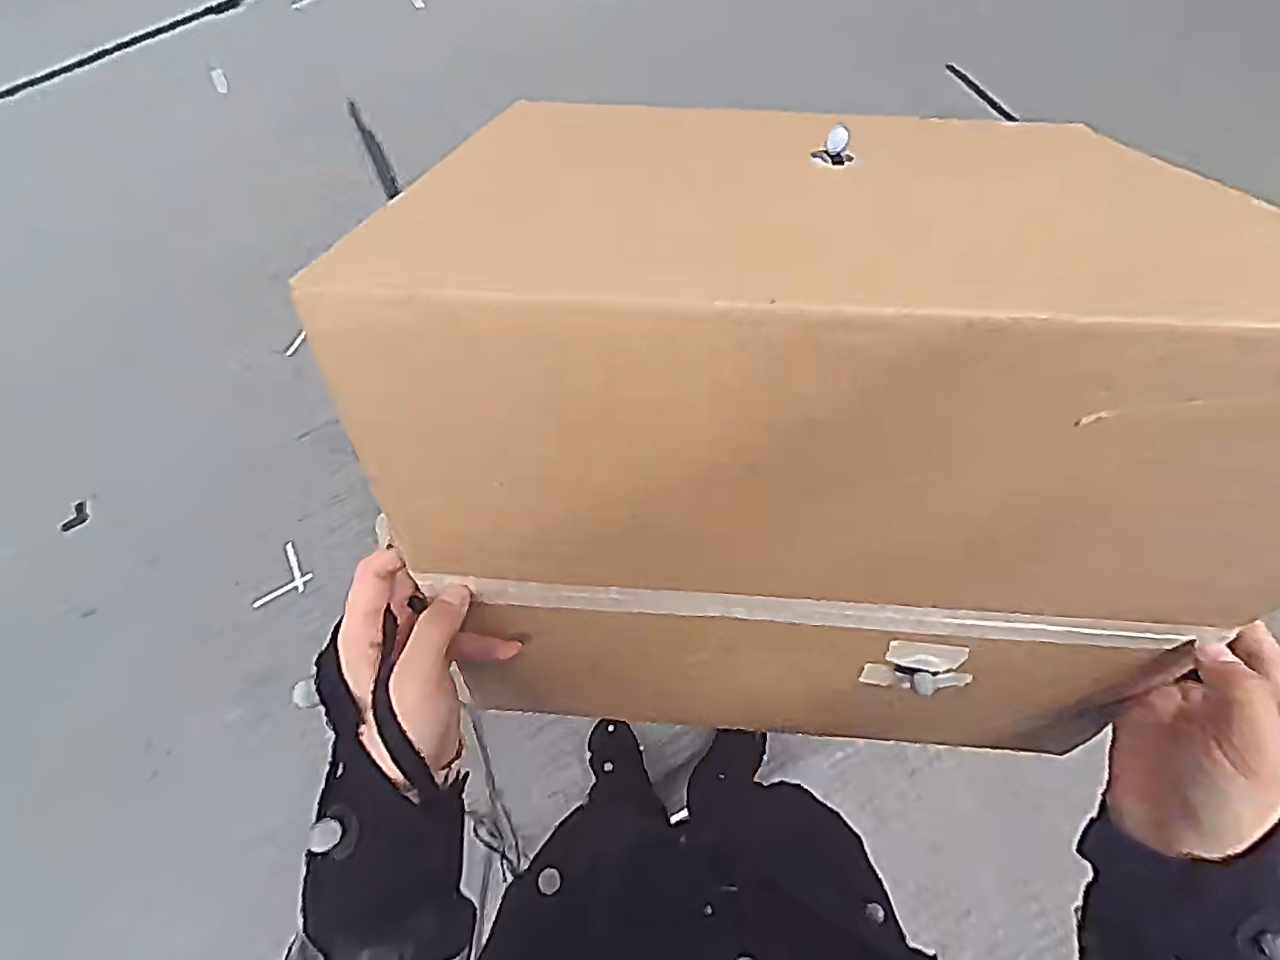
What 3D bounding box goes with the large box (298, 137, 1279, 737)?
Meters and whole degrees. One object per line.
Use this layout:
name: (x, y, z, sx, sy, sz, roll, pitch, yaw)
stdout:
large box: (0.083, -0.038, 0.388, 0.408, 0.320, 0.320, 2, 44, 2)
